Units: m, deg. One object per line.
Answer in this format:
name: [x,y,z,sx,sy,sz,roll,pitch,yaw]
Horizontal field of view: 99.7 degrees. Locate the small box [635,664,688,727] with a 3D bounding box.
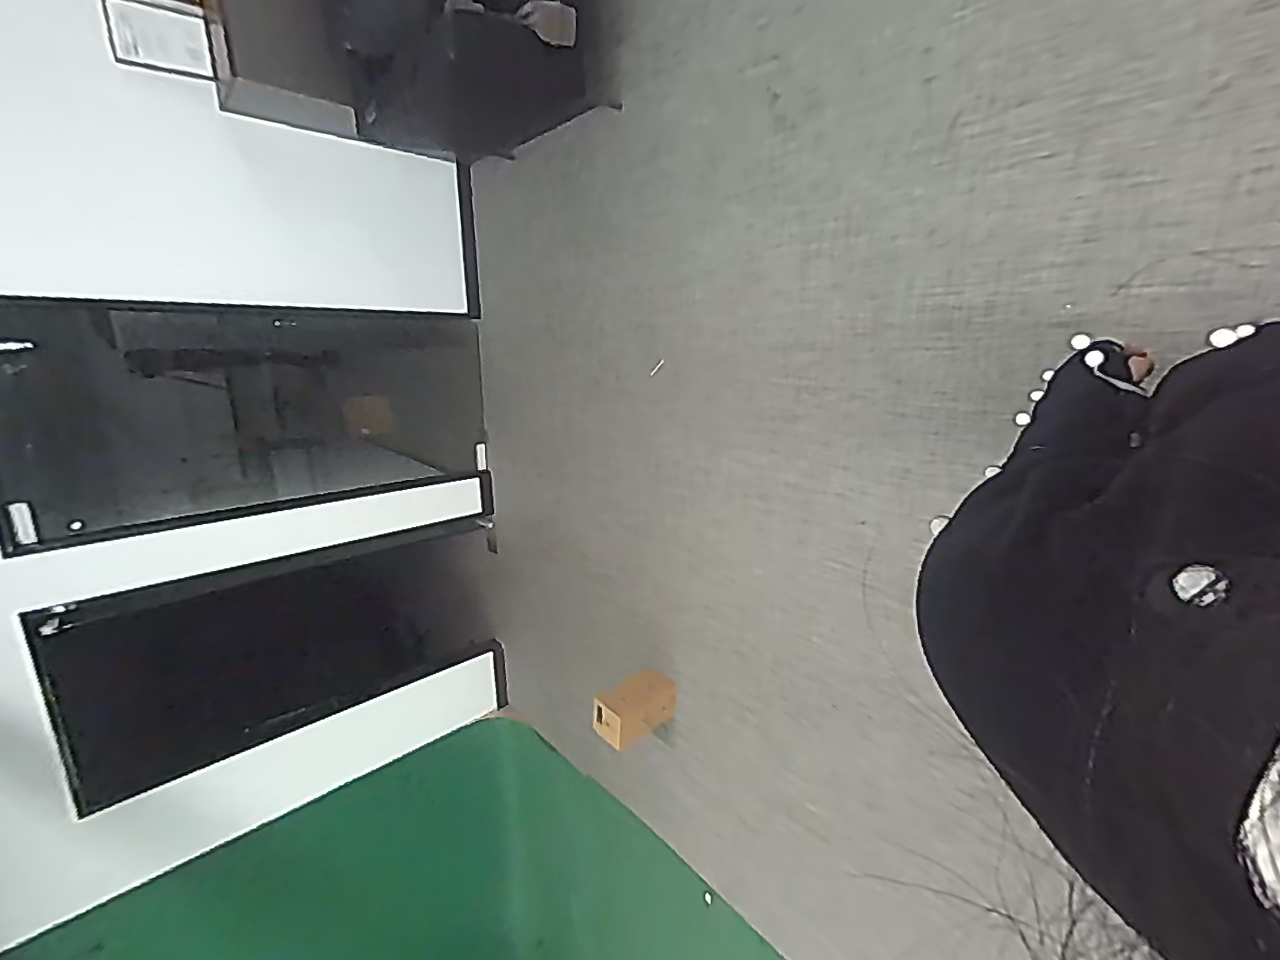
small box: [0.098,0.957,2.419,0.179,0.176,0.168,23,117,44]
